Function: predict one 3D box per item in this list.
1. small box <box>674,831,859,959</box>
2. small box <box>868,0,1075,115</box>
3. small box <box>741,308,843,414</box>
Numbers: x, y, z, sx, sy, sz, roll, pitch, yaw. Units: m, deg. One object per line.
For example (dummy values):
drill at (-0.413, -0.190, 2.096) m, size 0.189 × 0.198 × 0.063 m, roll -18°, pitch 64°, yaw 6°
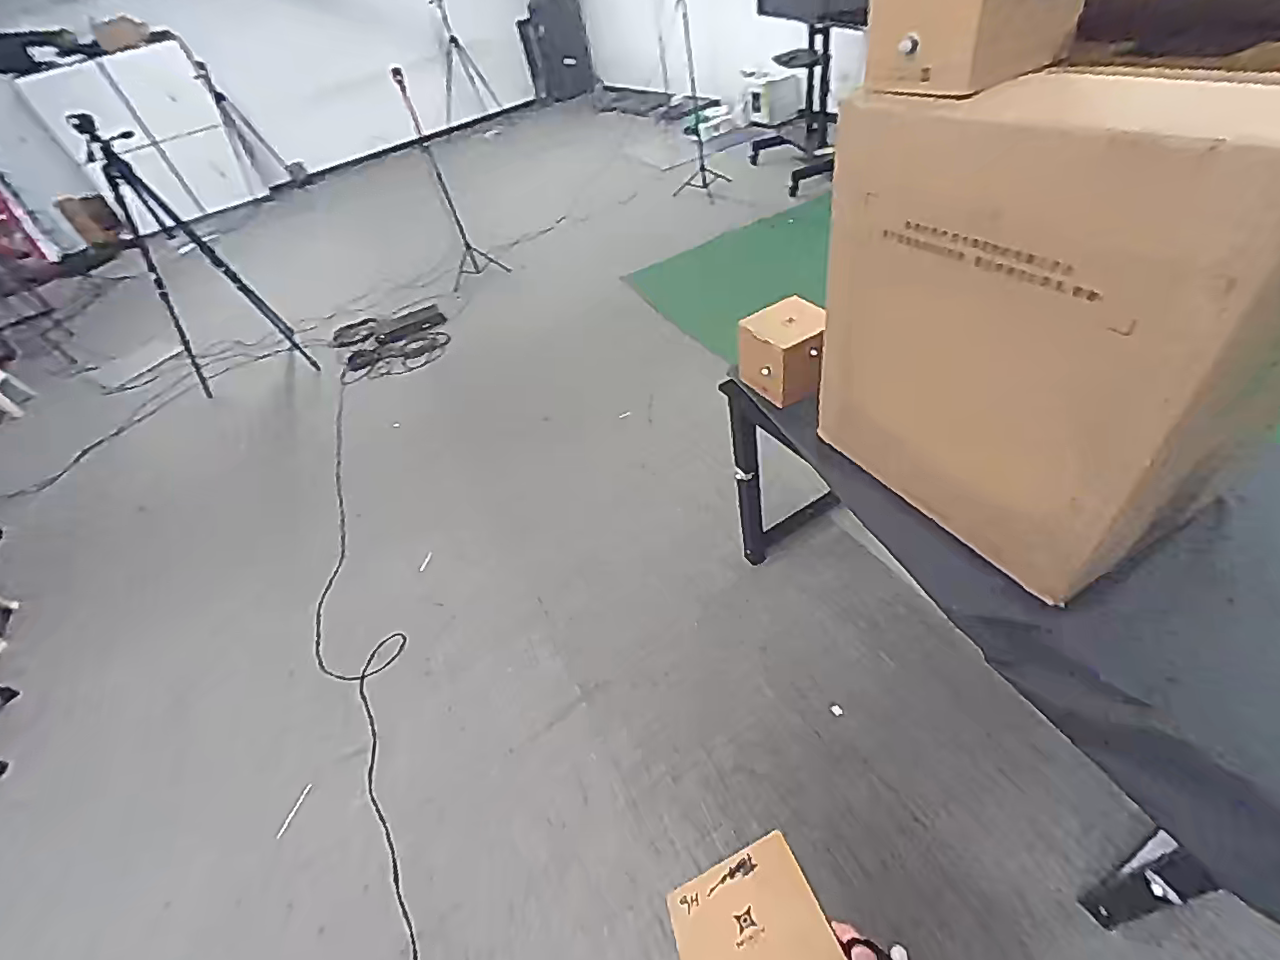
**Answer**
small box at (0.163, 0.560, 0.606) m, size 0.168 × 0.176 × 0.179 m, roll -28°, pitch 13°, yaw -4°
small box at (0.408, -0.582, 0.673) m, size 0.179 × 0.176 × 0.168 m, roll -27°, pitch 42°, yaw -12°
small box at (0.366, -0.288, 1.318) m, size 0.179 × 0.176 × 0.168 m, roll -27°, pitch 46°, yaw -16°
